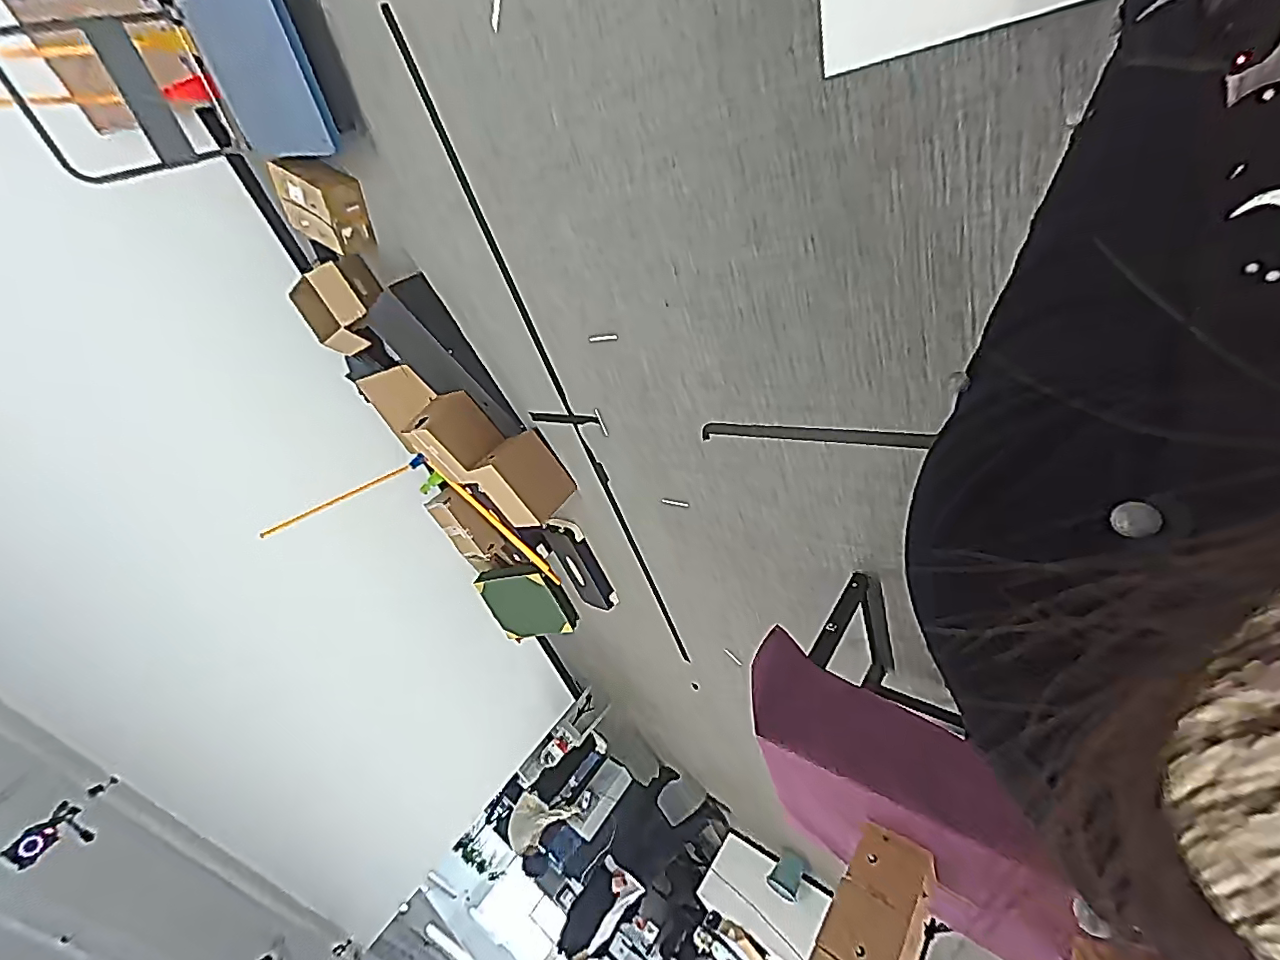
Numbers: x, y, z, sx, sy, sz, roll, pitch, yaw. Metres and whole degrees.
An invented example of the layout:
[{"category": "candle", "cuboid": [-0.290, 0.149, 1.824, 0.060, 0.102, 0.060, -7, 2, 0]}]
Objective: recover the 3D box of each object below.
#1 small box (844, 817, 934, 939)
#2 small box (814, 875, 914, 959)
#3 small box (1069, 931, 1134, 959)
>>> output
[{"category": "small box", "cuboid": [0.657, 1.034, 1.418, 0.168, 0.176, 0.179, 9, 133, 43]}, {"category": "small box", "cuboid": [0.557, 1.127, 1.326, 0.179, 0.176, 0.168, 9, 131, 44]}, {"category": "small box", "cuboid": [0.991, 1.106, 1.126, 0.168, 0.176, 0.179, 8, 131, 44]}]
